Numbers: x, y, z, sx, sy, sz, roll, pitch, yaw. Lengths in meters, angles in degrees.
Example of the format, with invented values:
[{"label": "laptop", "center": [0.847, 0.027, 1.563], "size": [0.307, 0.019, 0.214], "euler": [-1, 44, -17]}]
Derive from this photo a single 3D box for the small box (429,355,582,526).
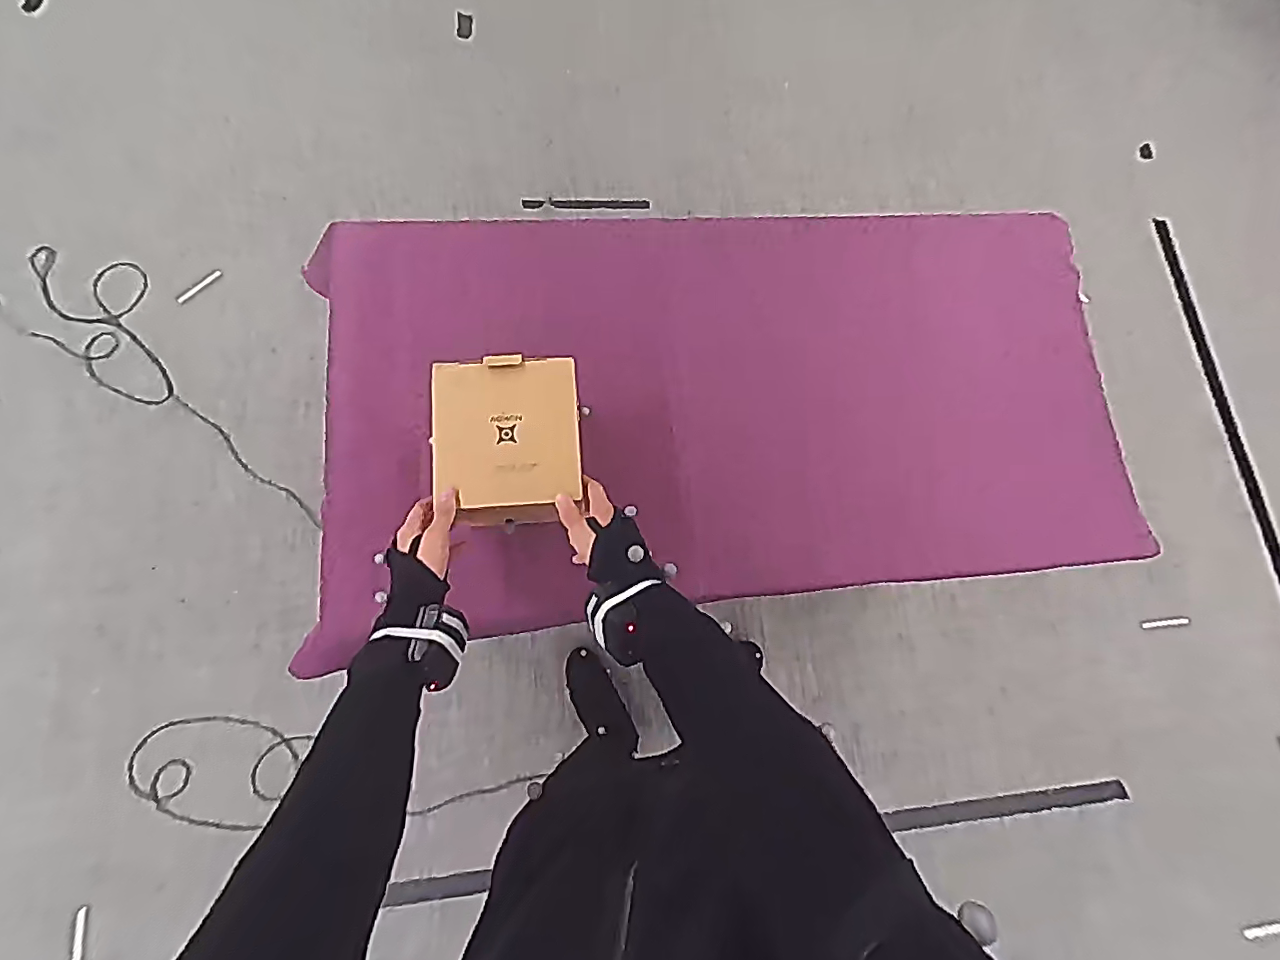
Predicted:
[{"label": "small box", "center": [-0.159, -0.042, 0.685], "size": [0.168, 0.176, 0.179], "euler": [-3, 79, -5]}]
